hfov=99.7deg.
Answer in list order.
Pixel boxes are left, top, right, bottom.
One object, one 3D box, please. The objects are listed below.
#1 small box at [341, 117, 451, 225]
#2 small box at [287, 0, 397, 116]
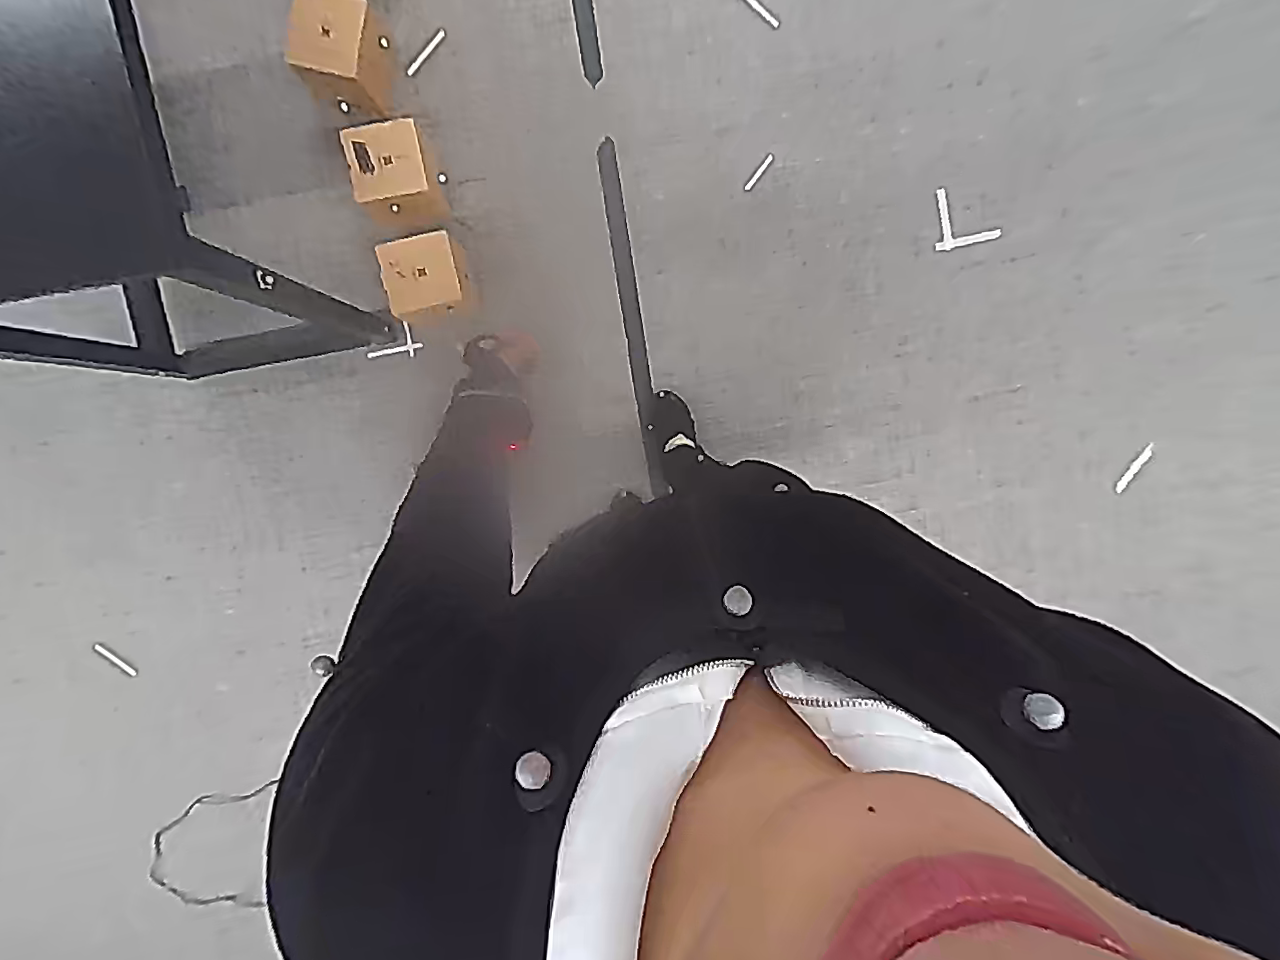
[{"bbox_3d":[-0.593,-0.749,1.331,0.179,0.176,0.168,-11,96,-1],"label":"small box"},{"bbox_3d":[-0.709,-1.026,1.302,0.168,0.176,0.179,11,97,-1],"label":"small box"}]
